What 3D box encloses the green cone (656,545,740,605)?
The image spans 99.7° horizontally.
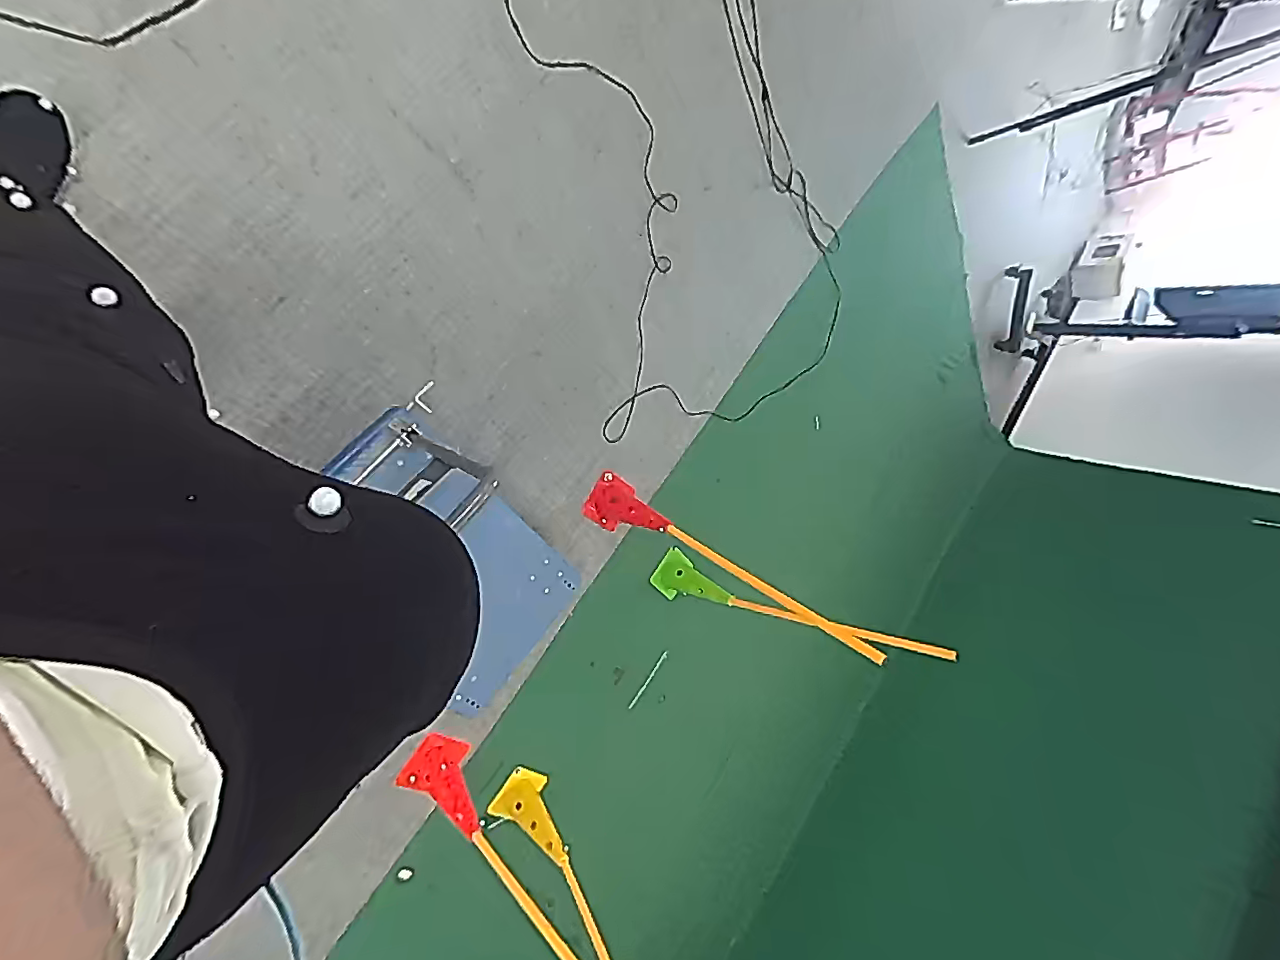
[{"bbox_3d":[0.277,0.454,2.330,0.200,0.368,0.202,-55,132,-14],"label":"green cone"}]

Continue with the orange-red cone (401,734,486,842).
[{"bbox_3d":[-0.595,1.035,1.766,0.198,0.360,0.199,-54,132,-13],"label":"orange-red cone"}]
